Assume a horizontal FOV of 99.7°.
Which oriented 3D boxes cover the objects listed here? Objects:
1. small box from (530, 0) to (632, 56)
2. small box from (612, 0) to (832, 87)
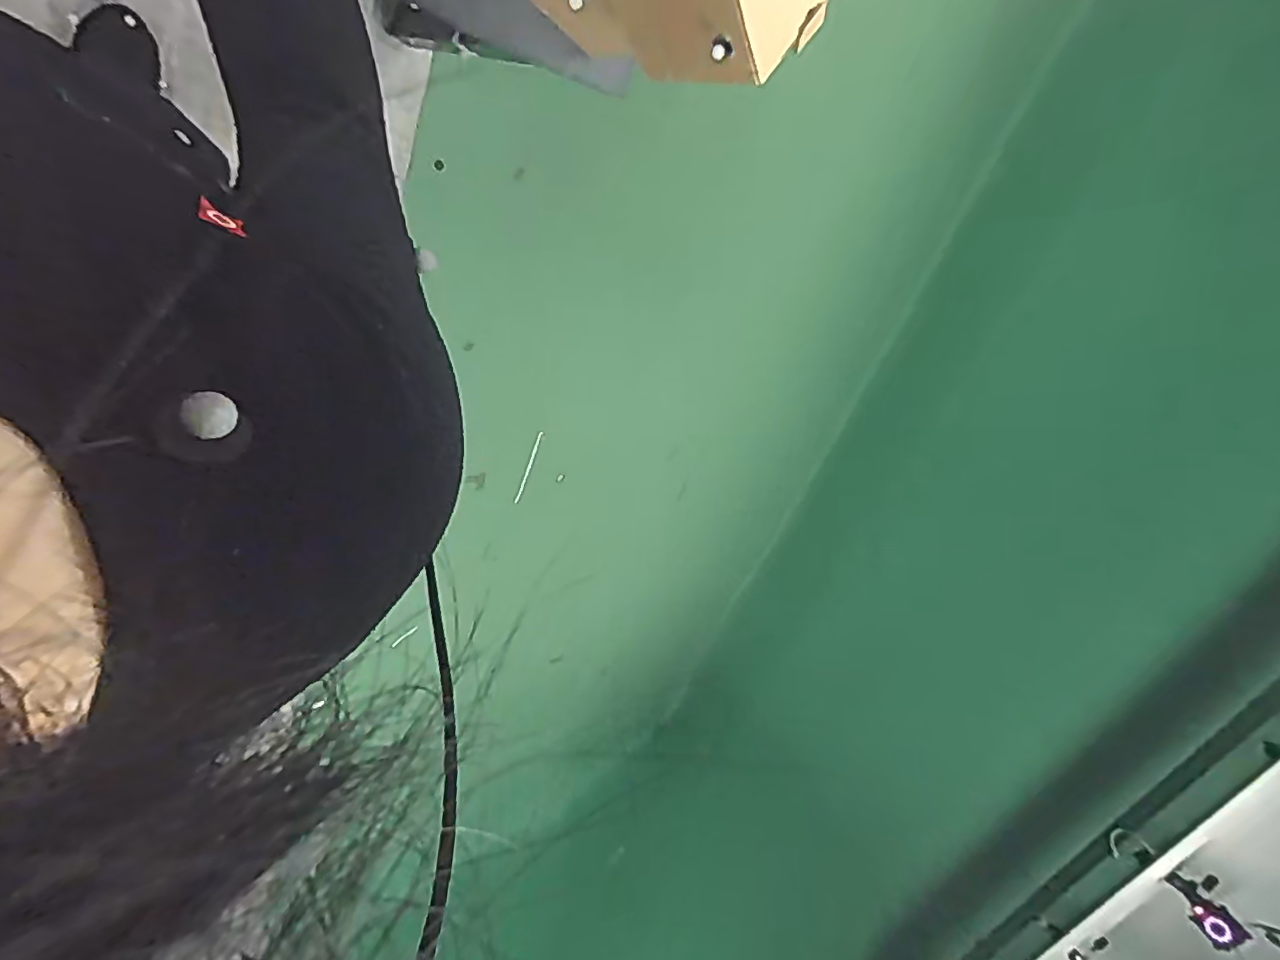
[{"bbox_3d":[-0.033,-0.592,0.579,0.179,0.176,0.168,7,113,-49],"label":"small box"},{"bbox_3d":[0.070,-0.500,0.491,0.168,0.176,0.179,-53,145,-3],"label":"small box"}]
